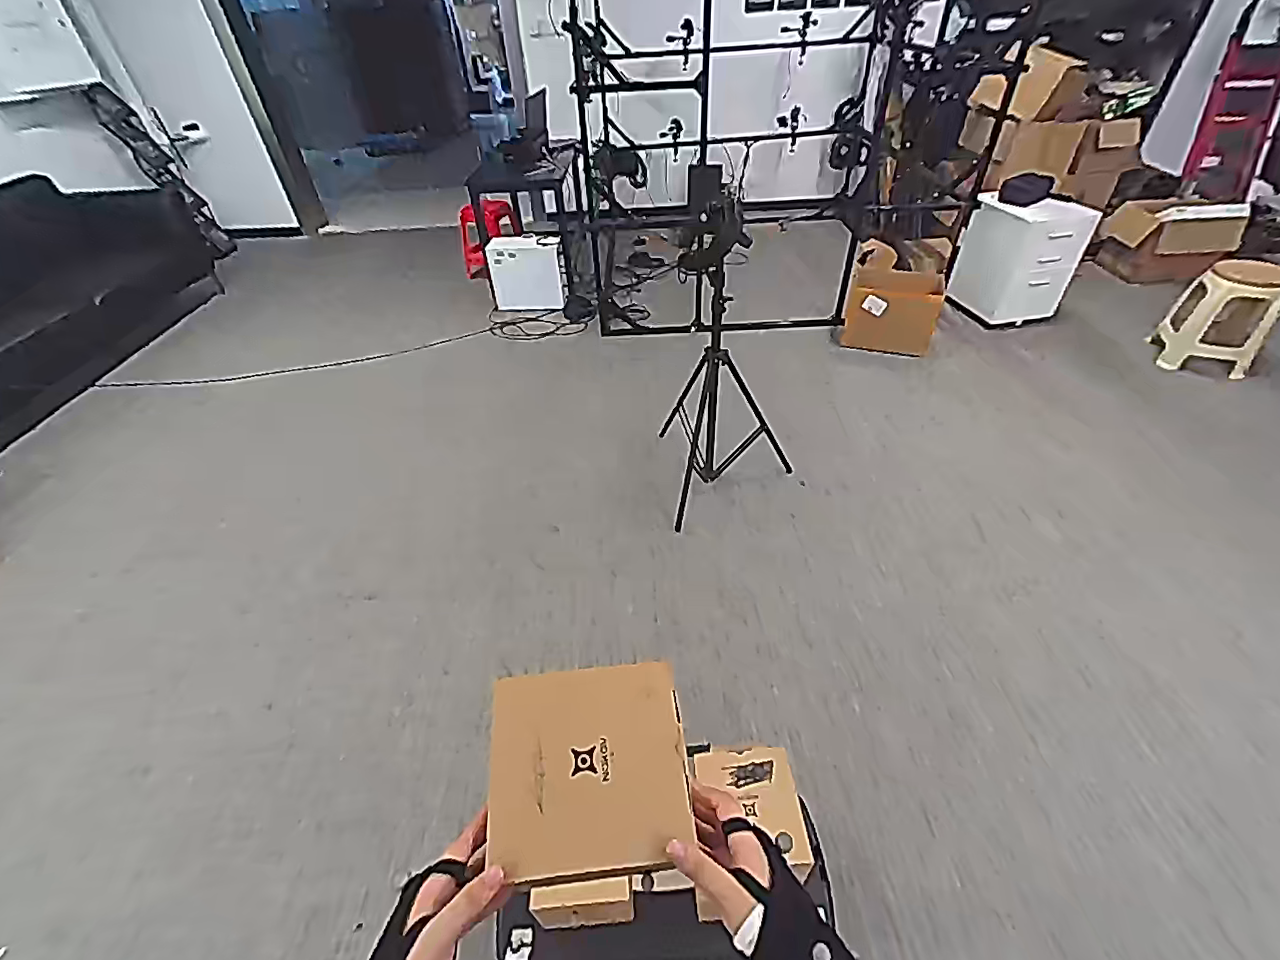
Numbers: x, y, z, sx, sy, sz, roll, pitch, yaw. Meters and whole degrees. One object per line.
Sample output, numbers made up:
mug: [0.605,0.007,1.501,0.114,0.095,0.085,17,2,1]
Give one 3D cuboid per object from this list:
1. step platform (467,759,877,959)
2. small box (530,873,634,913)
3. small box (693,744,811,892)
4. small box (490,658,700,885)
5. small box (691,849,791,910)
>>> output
step platform: [0.052,0.724,1.005,0.684,0.204,0.286,-3,41,-1]
small box: [-0.106,0.738,1.055,0.179,0.176,0.168,-5,42,-1]
small box: [0.184,0.592,0.950,0.168,0.176,0.179,-5,42,0]
small box: [-0.045,0.300,0.552,0.179,0.176,0.168,-6,51,-4]
small box: [0.183,0.718,1.056,0.168,0.176,0.179,-5,42,0]
